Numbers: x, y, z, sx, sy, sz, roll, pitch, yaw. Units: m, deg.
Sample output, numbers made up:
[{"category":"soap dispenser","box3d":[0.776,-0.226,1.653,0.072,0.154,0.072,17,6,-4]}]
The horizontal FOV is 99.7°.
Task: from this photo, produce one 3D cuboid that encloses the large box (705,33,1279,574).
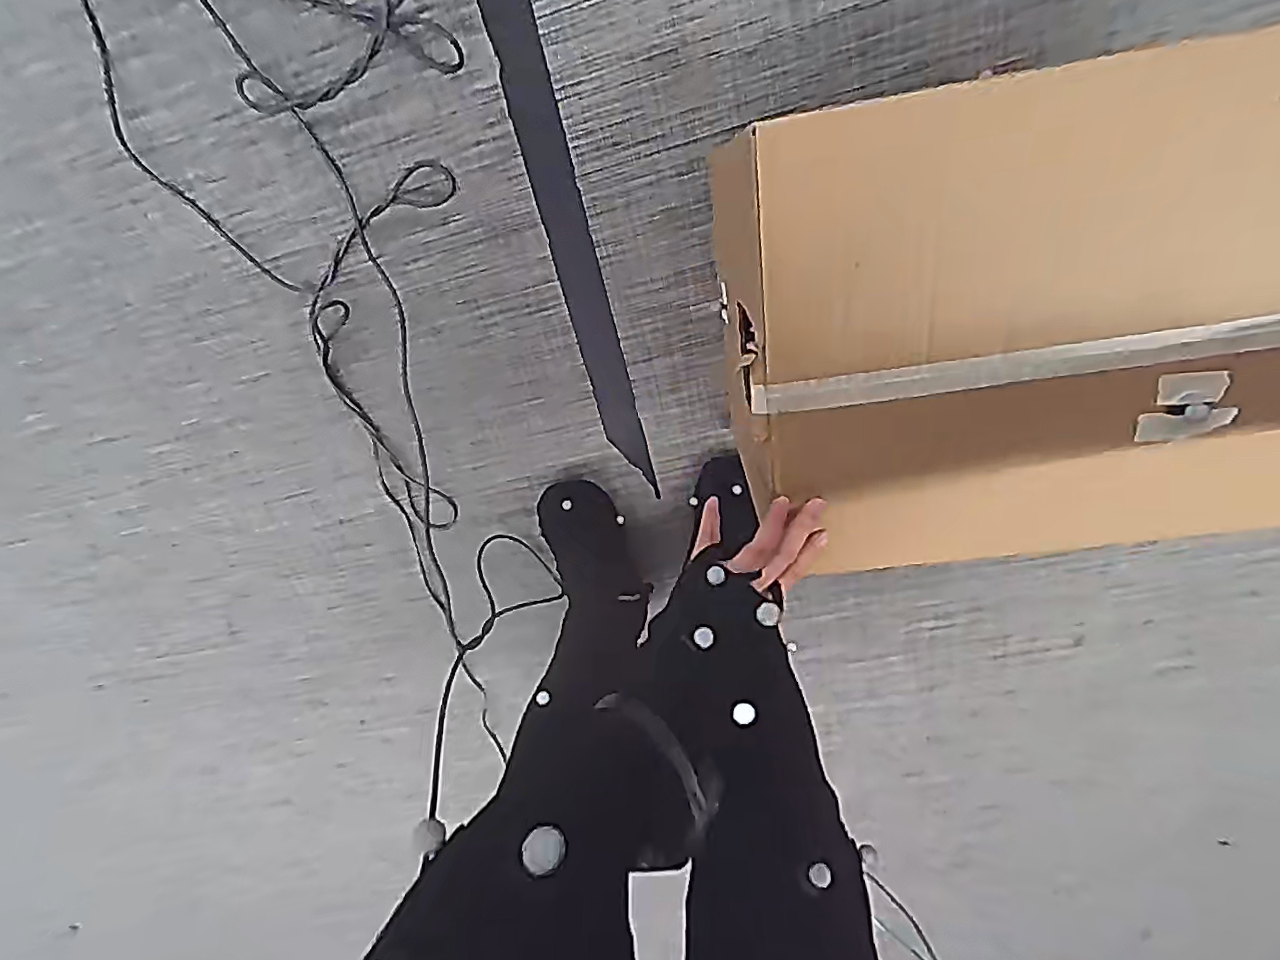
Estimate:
[{"category":"large box","box3d":[0.286,-0.152,0.486,0.408,0.320,0.320,-7,118,5]}]
